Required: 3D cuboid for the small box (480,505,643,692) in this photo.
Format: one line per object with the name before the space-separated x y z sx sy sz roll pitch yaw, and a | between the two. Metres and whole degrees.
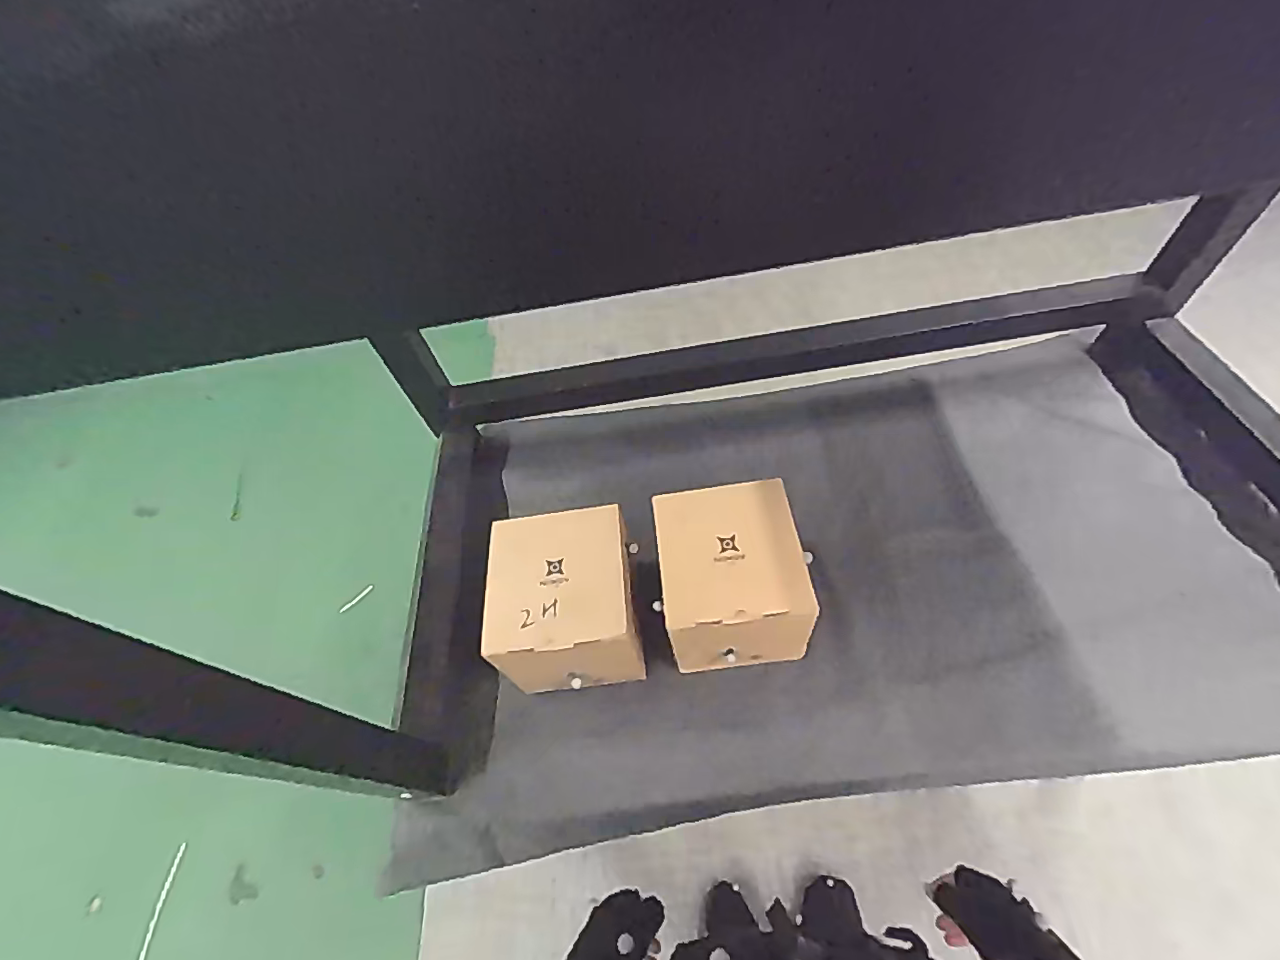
small box | -0.091 0.157 0.702 0.168 0.176 0.179 -8 54 4
